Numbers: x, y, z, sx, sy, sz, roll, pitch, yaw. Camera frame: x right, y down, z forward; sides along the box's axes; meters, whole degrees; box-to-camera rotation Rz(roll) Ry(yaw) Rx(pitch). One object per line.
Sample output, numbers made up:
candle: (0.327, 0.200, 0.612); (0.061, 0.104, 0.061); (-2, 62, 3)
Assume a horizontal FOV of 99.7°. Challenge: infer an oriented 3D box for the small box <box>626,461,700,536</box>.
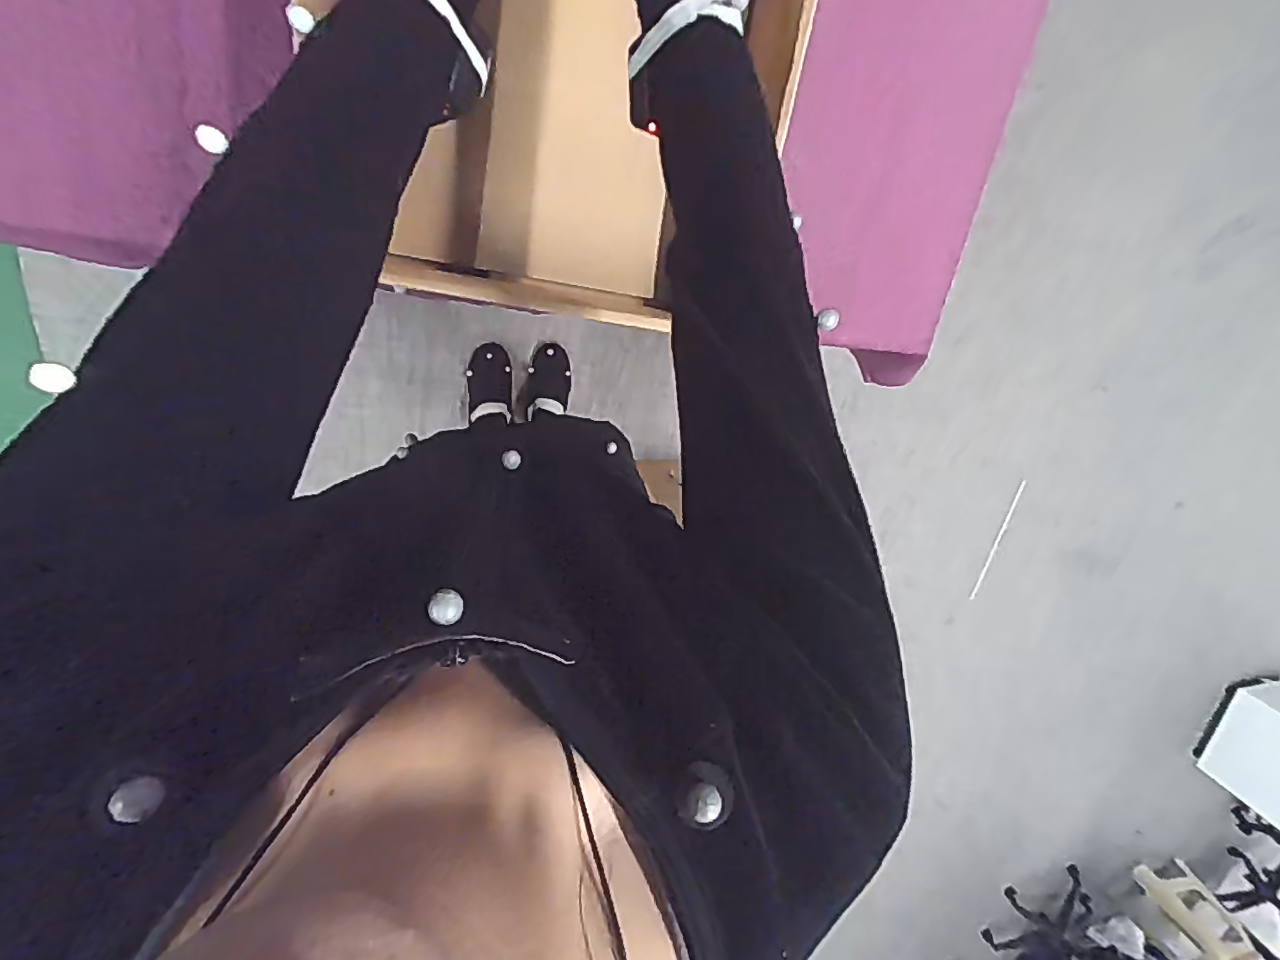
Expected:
small box: (0.057, 0.050, 1.540); (0.179, 0.176, 0.168); (-1, 112, -12)
